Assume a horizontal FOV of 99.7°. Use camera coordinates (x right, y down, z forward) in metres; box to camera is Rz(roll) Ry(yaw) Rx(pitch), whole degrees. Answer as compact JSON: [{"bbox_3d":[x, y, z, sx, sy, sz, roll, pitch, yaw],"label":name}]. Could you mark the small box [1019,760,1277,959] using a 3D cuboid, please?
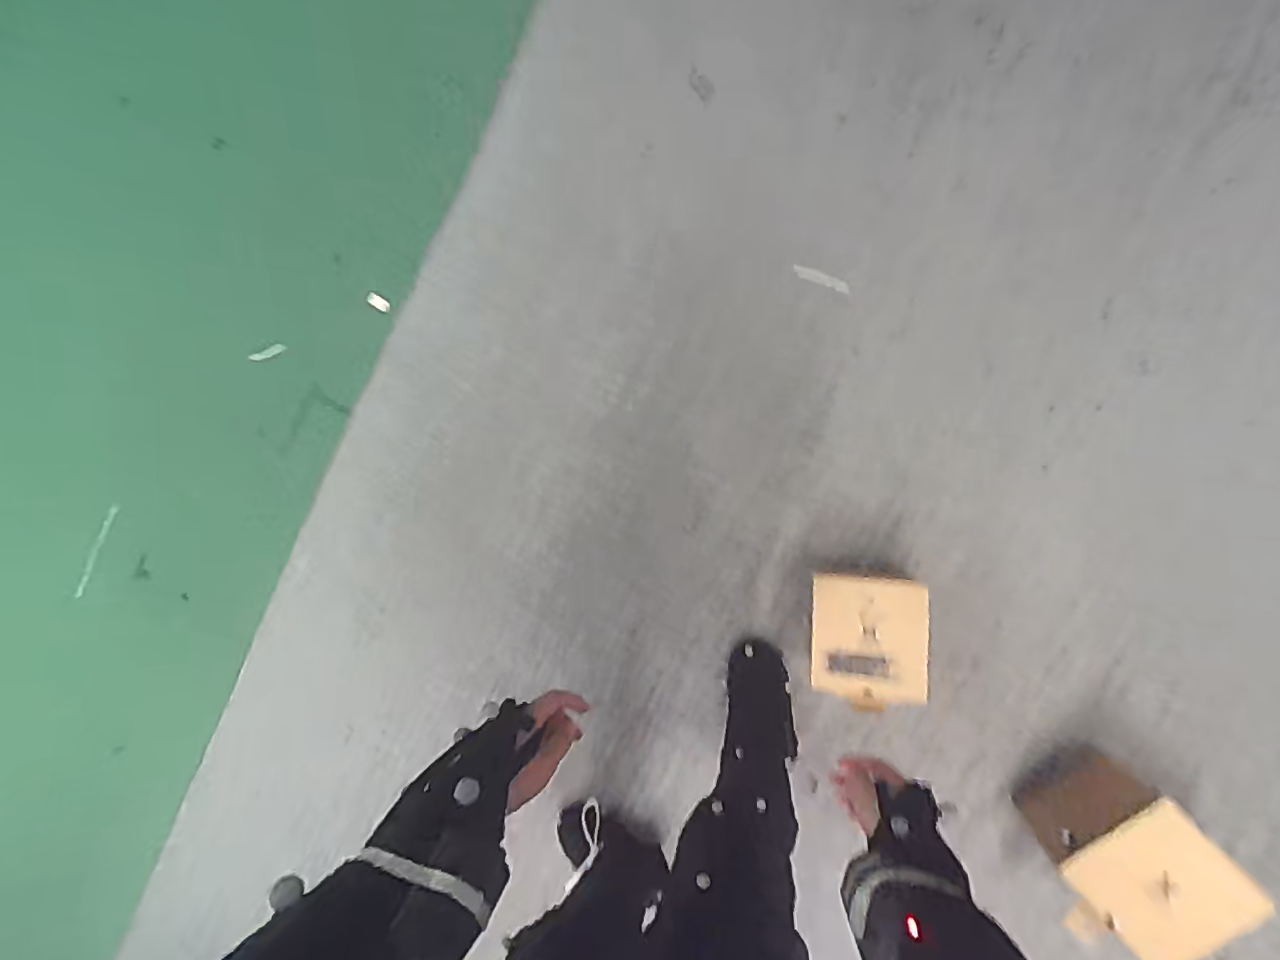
[{"bbox_3d":[0.704,0.548,0.780,0.179,0.176,0.168,-43,76,10],"label":"small box"}]
